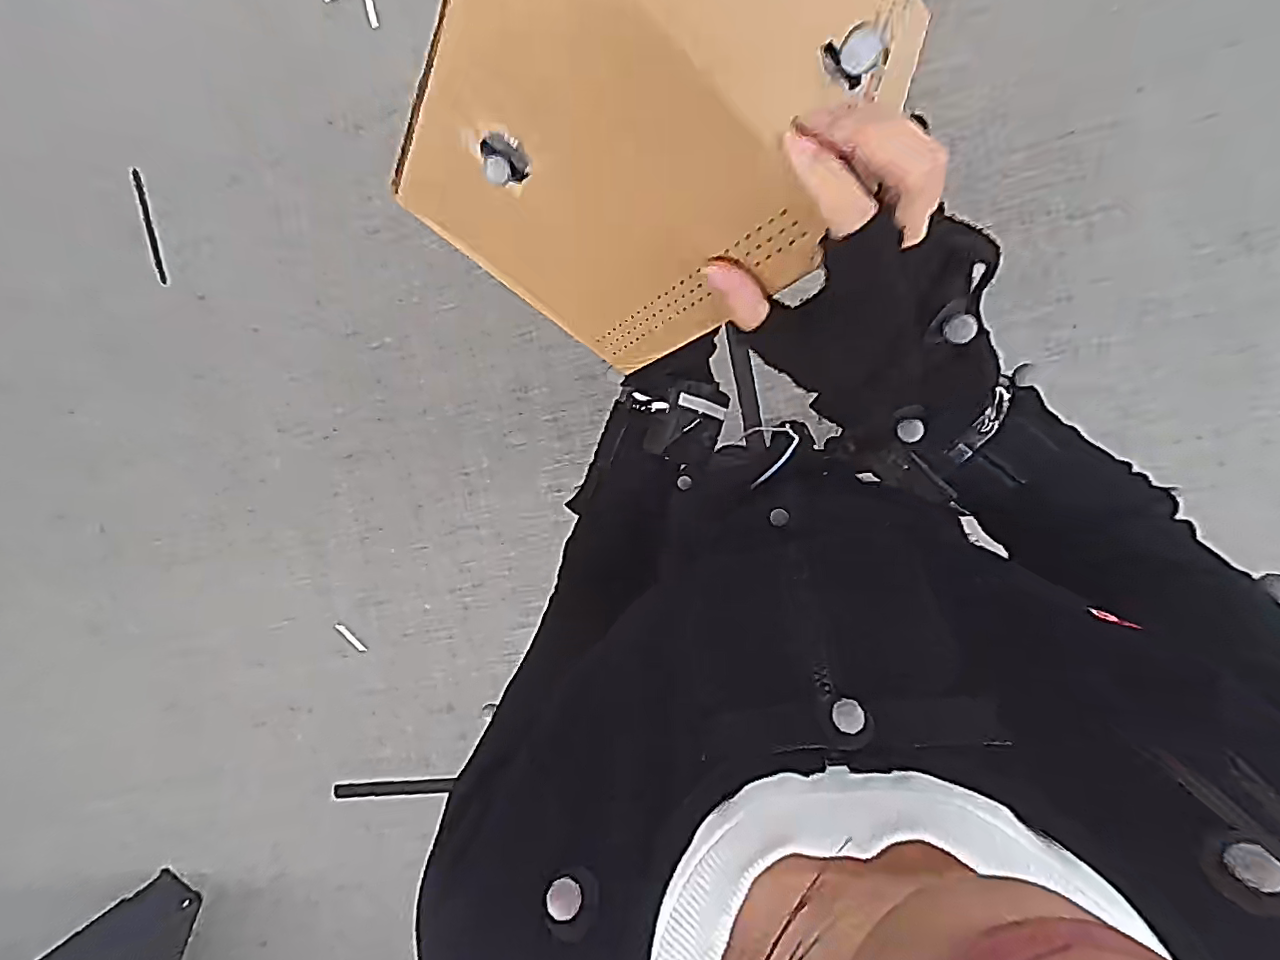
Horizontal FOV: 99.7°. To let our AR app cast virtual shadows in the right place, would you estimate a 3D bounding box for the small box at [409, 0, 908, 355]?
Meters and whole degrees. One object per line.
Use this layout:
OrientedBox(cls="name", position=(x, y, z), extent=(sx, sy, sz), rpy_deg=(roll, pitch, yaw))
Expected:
OrientedBox(cls="small box", position=(0.006, -0.195, 0.295), extent=(0.176, 0.179, 0.168), rpy_deg=(32, 68, -25))
